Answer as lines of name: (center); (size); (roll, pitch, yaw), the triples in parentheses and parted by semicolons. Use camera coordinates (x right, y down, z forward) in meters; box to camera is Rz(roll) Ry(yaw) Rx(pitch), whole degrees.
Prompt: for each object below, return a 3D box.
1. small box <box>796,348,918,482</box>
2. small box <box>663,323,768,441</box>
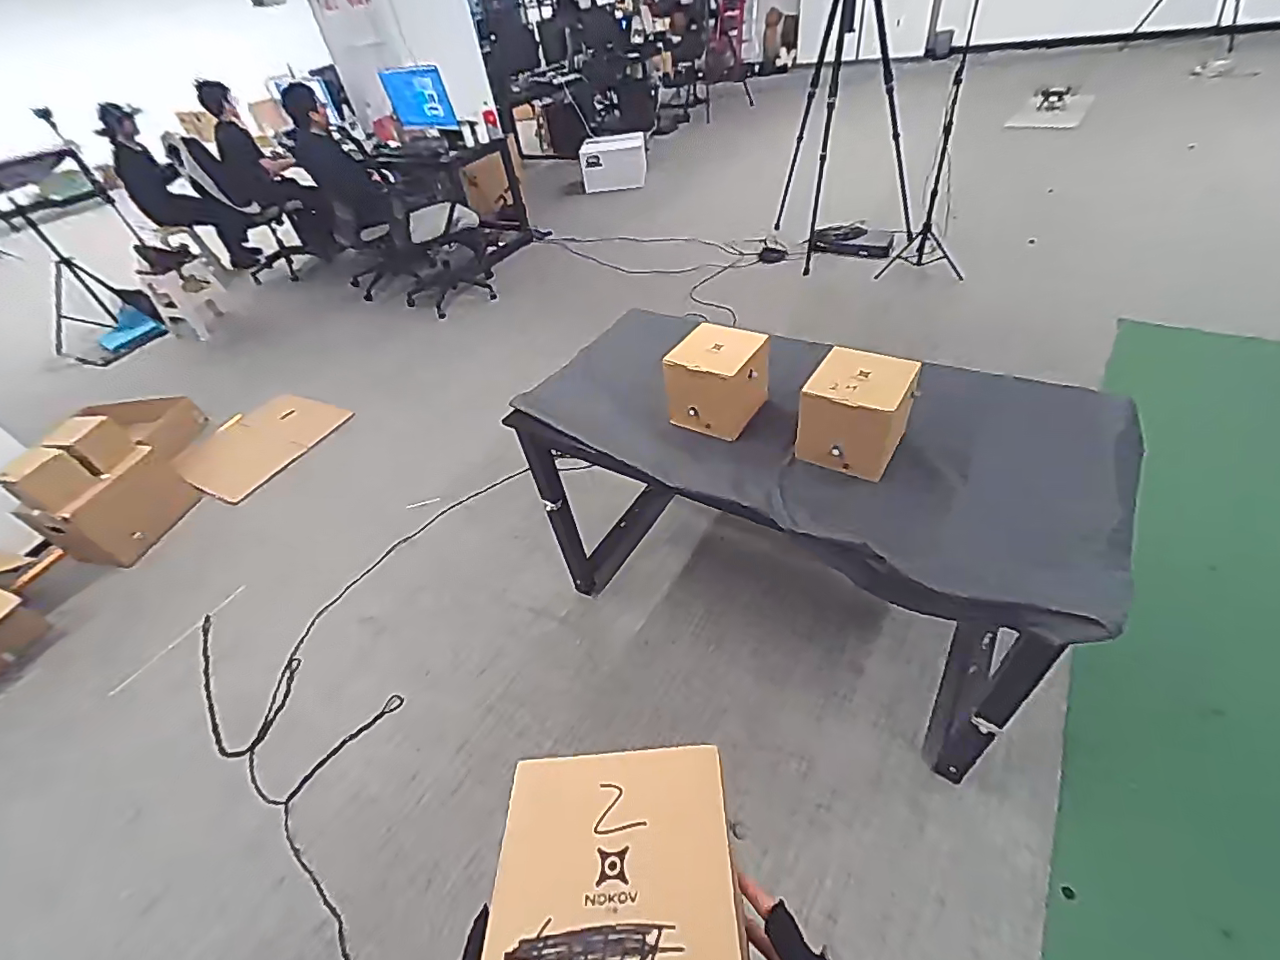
small box: (0.415, -0.127, 1.055); (0.168, 0.176, 0.179); (21, 51, 28)
small box: (0.167, -0.218, 1.194); (0.168, 0.176, 0.179); (21, 52, 28)
